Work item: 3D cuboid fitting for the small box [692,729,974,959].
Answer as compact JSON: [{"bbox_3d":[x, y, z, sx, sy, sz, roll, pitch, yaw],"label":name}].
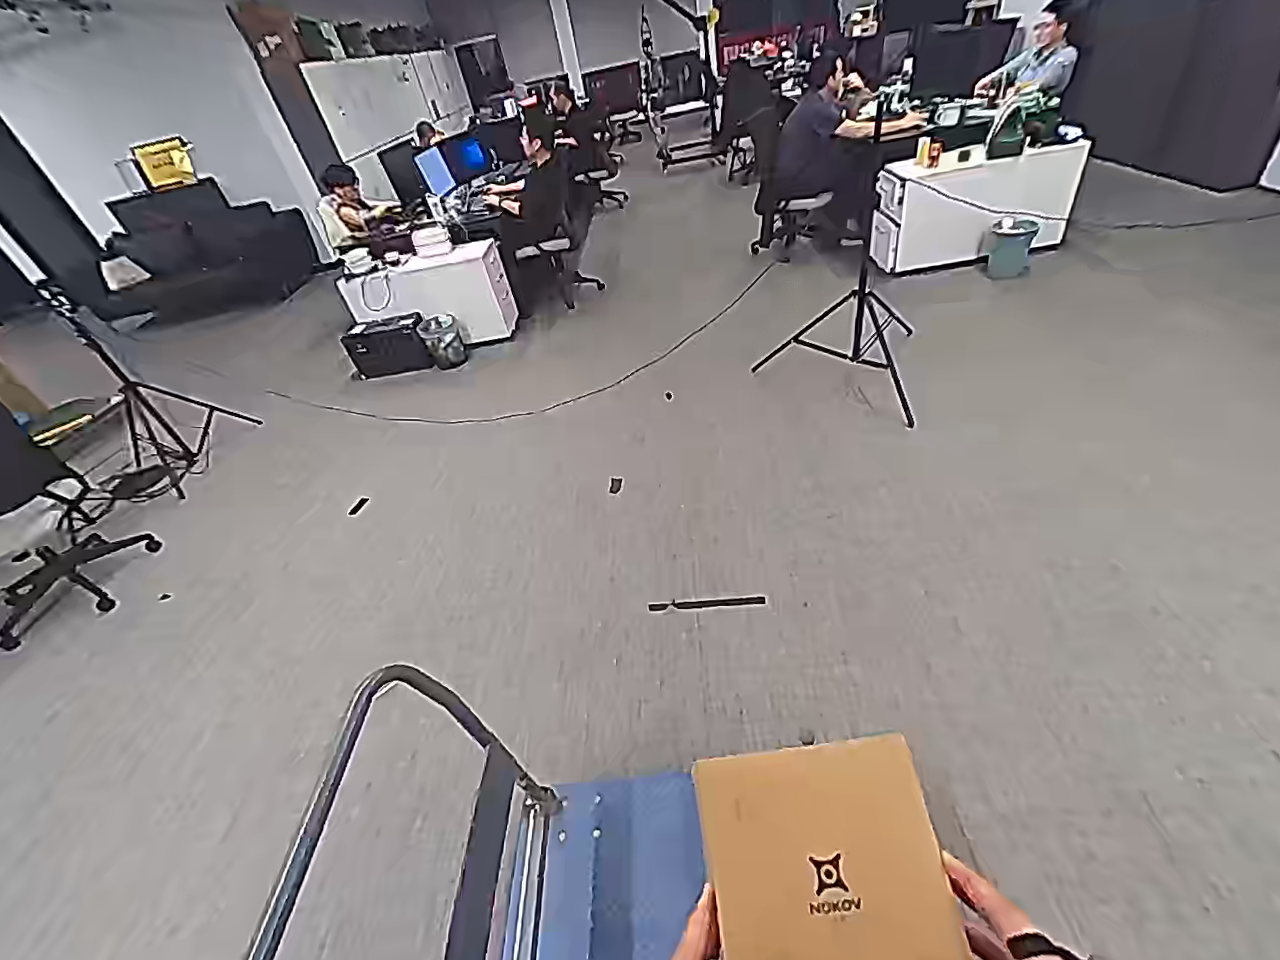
[{"bbox_3d":[0.137,0.316,0.450,0.168,0.176,0.179,-8,63,0],"label":"small box"}]
